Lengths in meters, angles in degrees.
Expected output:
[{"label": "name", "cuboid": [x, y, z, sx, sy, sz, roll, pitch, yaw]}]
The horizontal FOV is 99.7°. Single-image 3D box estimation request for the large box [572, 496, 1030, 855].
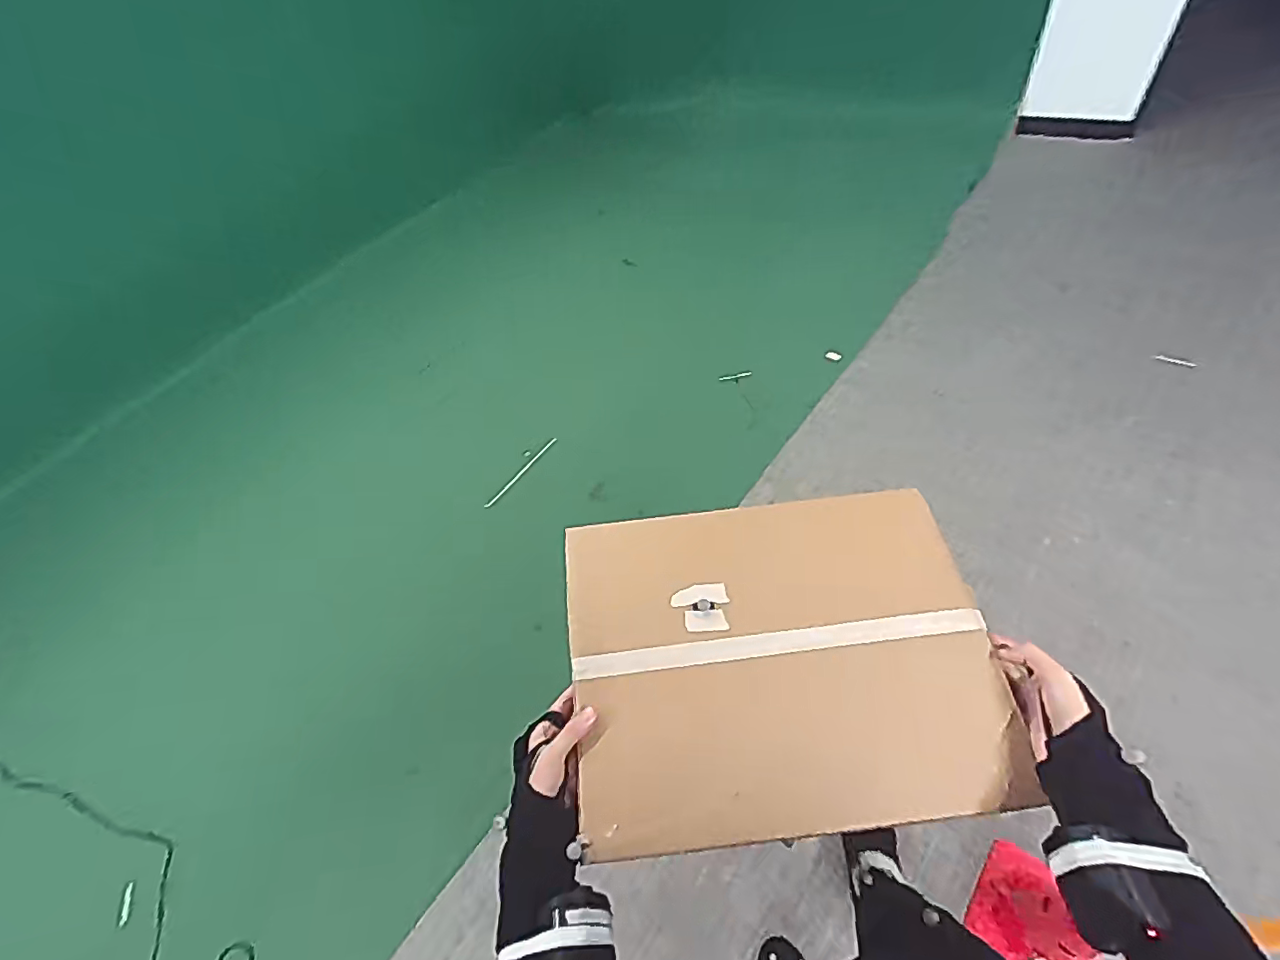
[{"label": "large box", "cuboid": [0.144, 0.246, 0.675, 0.408, 0.320, 0.320, -6, 59, 0]}]
